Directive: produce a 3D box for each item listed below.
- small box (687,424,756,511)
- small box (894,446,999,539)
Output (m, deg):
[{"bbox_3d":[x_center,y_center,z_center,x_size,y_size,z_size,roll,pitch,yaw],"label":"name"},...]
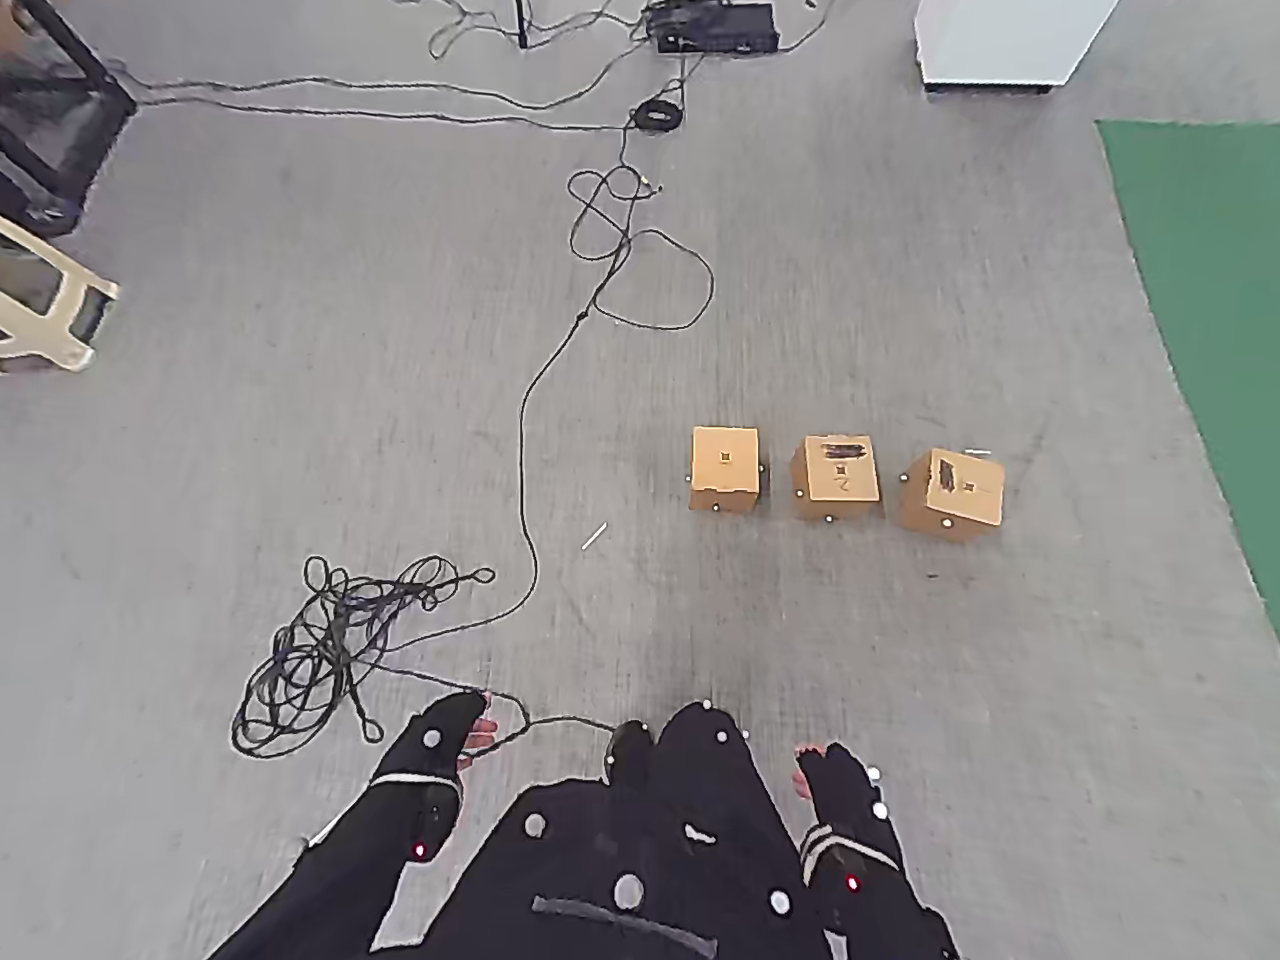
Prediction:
[{"bbox_3d":[0.212,-0.030,1.434,0.168,0.176,0.179,2,68,3],"label":"small box"},{"bbox_3d":[0.776,0.038,1.383,0.179,0.176,0.168,16,70,7],"label":"small box"}]
